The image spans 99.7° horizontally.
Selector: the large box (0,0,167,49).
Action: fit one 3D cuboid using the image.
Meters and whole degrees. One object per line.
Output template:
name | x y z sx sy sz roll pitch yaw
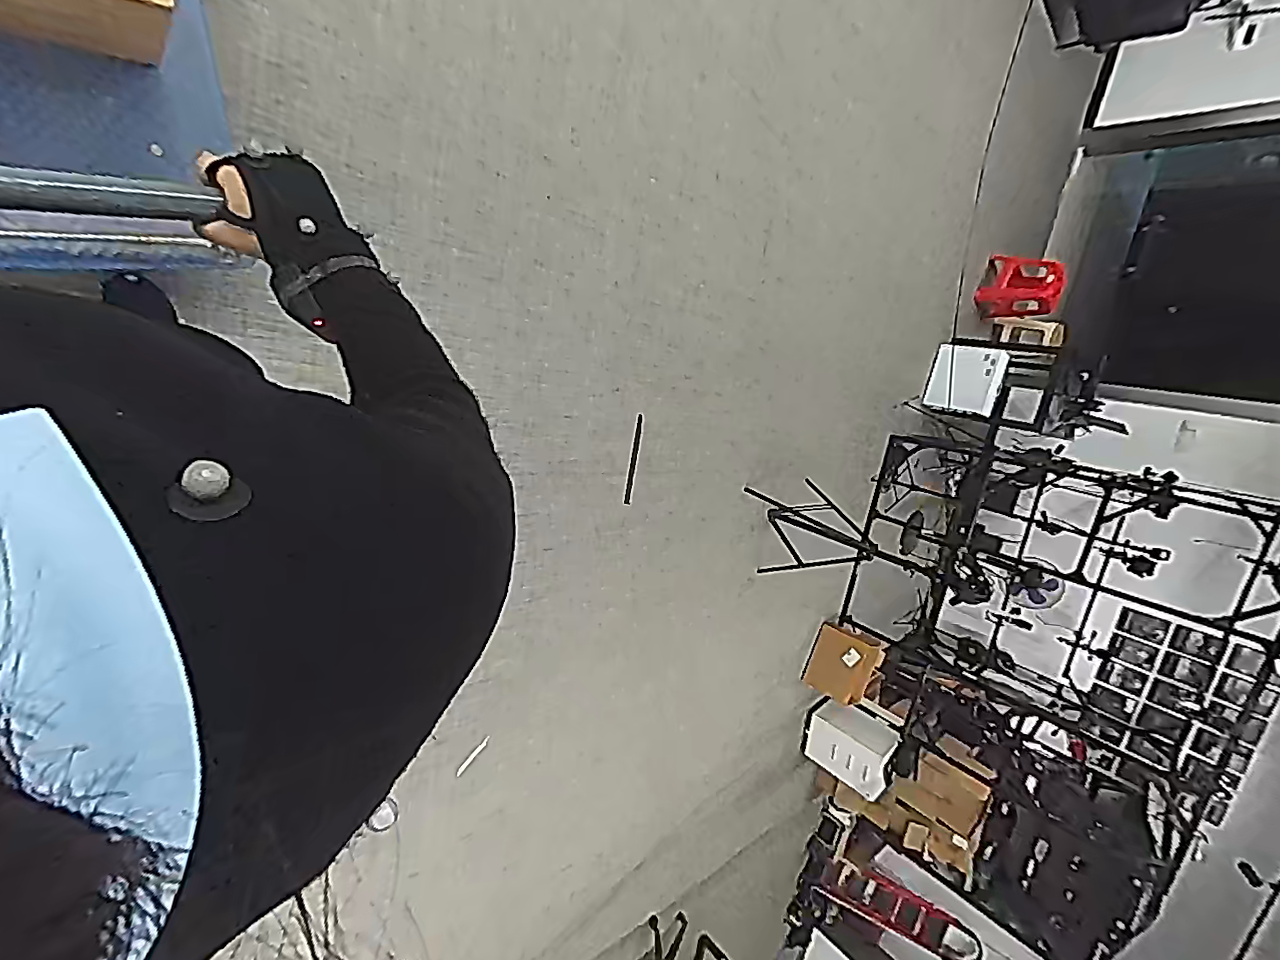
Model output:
large box | -0.841 -0.751 0.608 0.408 0.320 0.320 -17 118 -39
